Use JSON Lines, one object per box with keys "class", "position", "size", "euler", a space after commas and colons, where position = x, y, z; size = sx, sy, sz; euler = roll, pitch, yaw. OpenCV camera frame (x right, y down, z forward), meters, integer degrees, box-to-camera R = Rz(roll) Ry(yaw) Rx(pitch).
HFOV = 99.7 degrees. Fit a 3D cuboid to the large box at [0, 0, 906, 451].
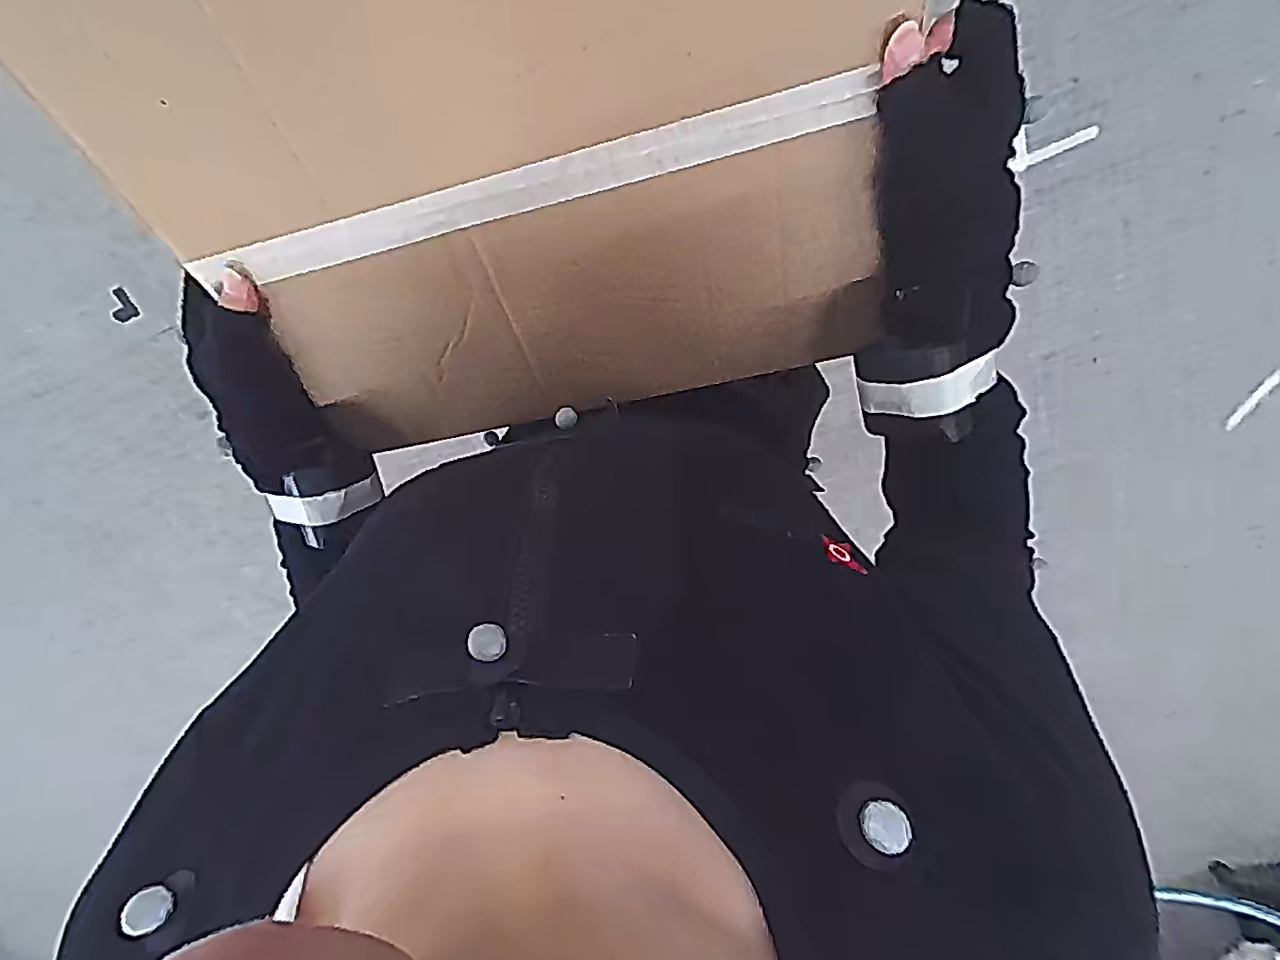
{"class": "large box", "position": [-0.065, -0.268, 0.402], "size": [0.408, 0.320, 0.320], "euler": [-10, 137, 9]}
